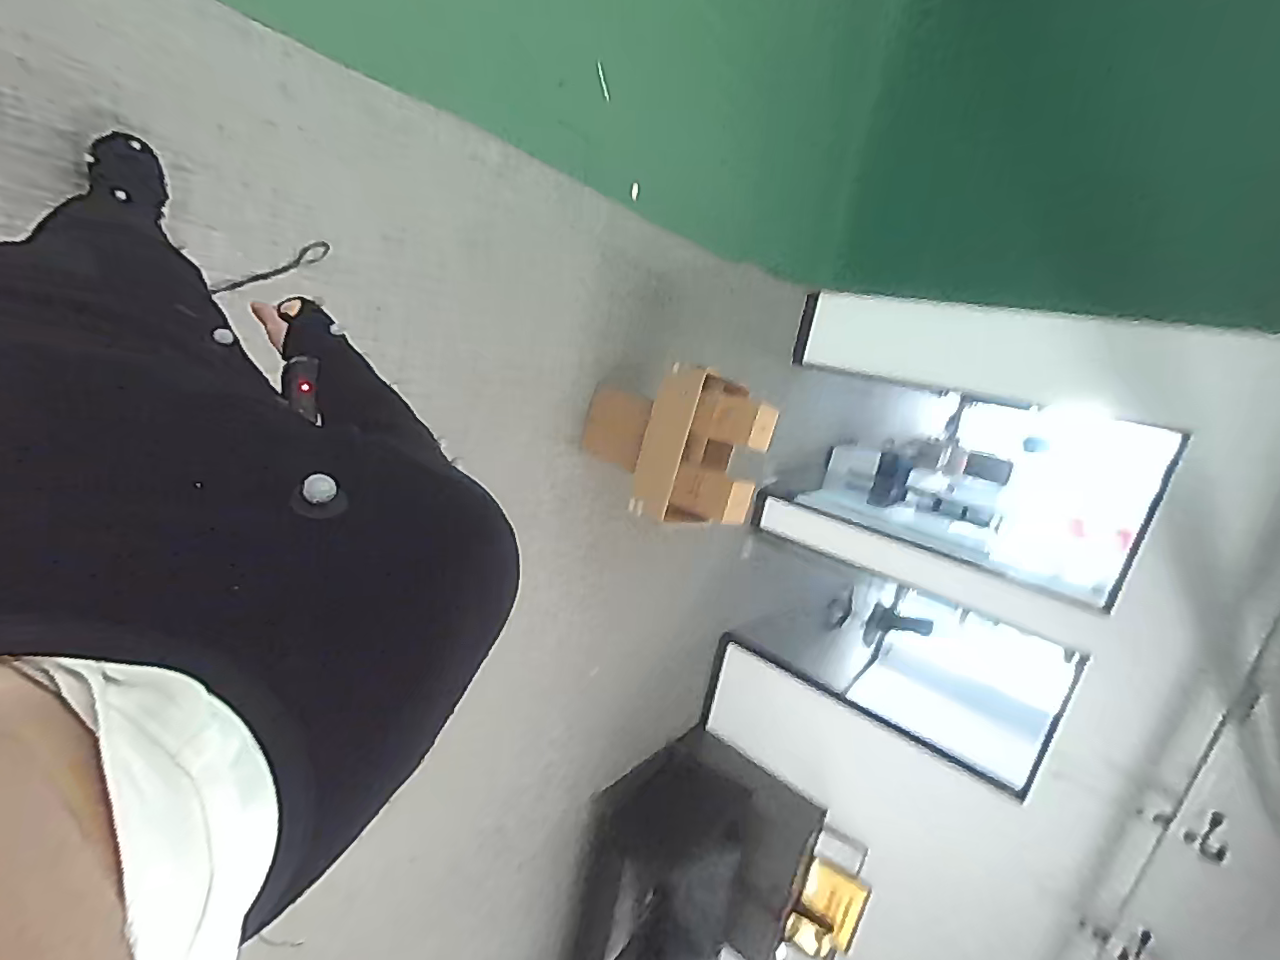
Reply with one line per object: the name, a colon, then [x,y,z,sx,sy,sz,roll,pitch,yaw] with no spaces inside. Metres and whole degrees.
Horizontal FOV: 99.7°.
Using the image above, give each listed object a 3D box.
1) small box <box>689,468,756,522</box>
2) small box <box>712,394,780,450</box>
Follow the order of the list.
small box: [0.320,0.057,2.096,0.179,0.176,0.168,7,101,-52]
small box: [0.403,-0.223,2.063,0.179,0.176,0.168,8,101,-53]
